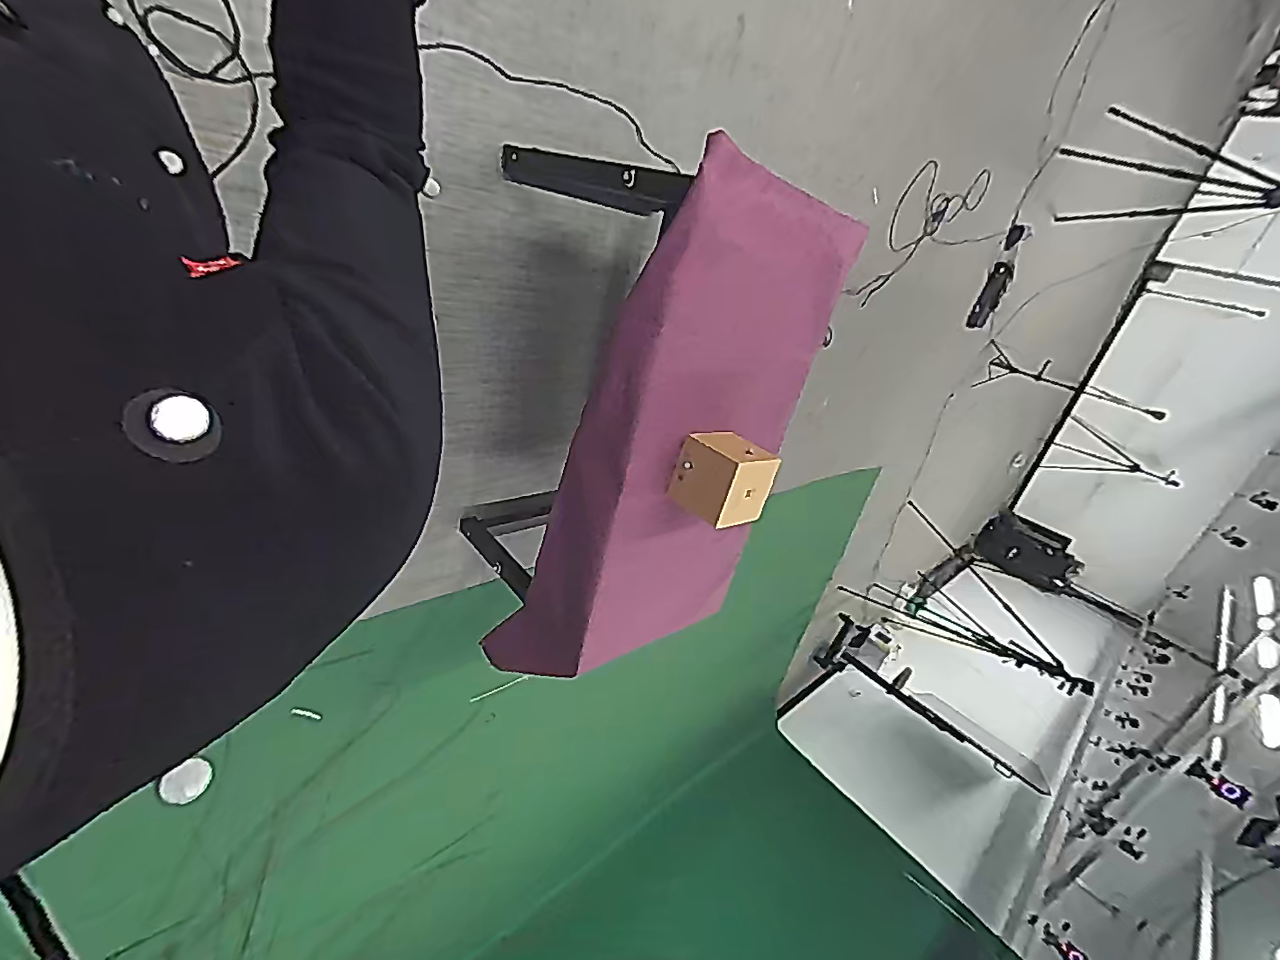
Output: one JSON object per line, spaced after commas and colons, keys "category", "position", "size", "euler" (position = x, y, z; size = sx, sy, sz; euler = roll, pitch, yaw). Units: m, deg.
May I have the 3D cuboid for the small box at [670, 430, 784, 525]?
{"category": "small box", "position": [0.204, -0.014, 1.288], "size": [0.179, 0.176, 0.168], "euler": [-5, 120, -44]}
